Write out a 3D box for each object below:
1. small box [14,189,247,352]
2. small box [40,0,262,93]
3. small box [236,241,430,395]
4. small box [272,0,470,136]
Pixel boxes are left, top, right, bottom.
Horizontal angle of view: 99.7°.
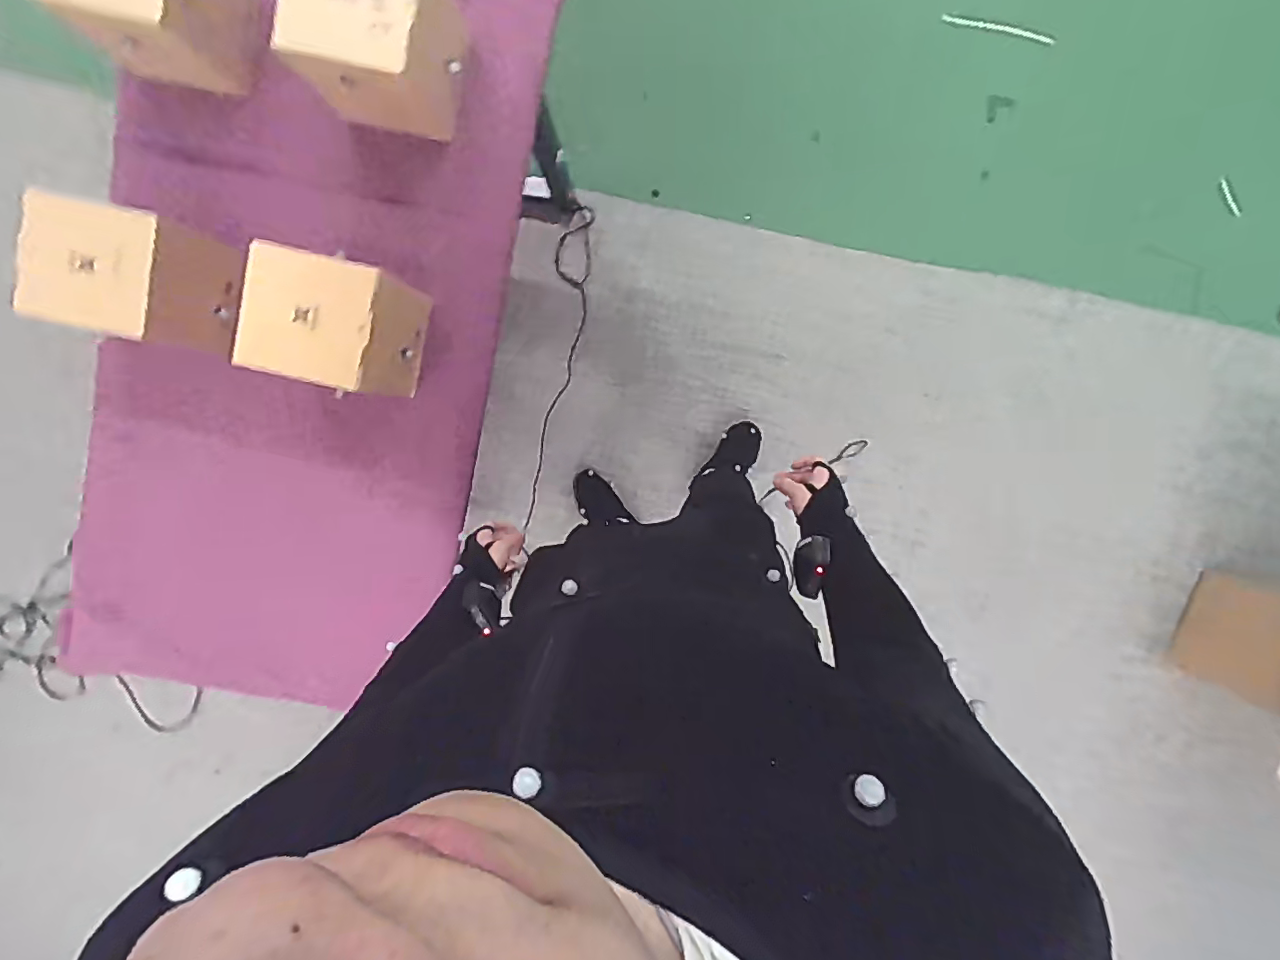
[{"bbox_3d":[-0.734,-0.293,0.797,0.179,0.176,0.168,12,96,-2],"label":"small box"},{"bbox_3d":[-0.680,-0.685,0.756,0.179,0.176,0.168,11,97,-2],"label":"small box"},{"bbox_3d":[-0.441,-0.226,0.800,0.179,0.176,0.168,13,95,0],"label":"small box"},{"bbox_3d":[-0.365,-0.621,0.759,0.179,0.176,0.168,13,96,1],"label":"small box"}]
